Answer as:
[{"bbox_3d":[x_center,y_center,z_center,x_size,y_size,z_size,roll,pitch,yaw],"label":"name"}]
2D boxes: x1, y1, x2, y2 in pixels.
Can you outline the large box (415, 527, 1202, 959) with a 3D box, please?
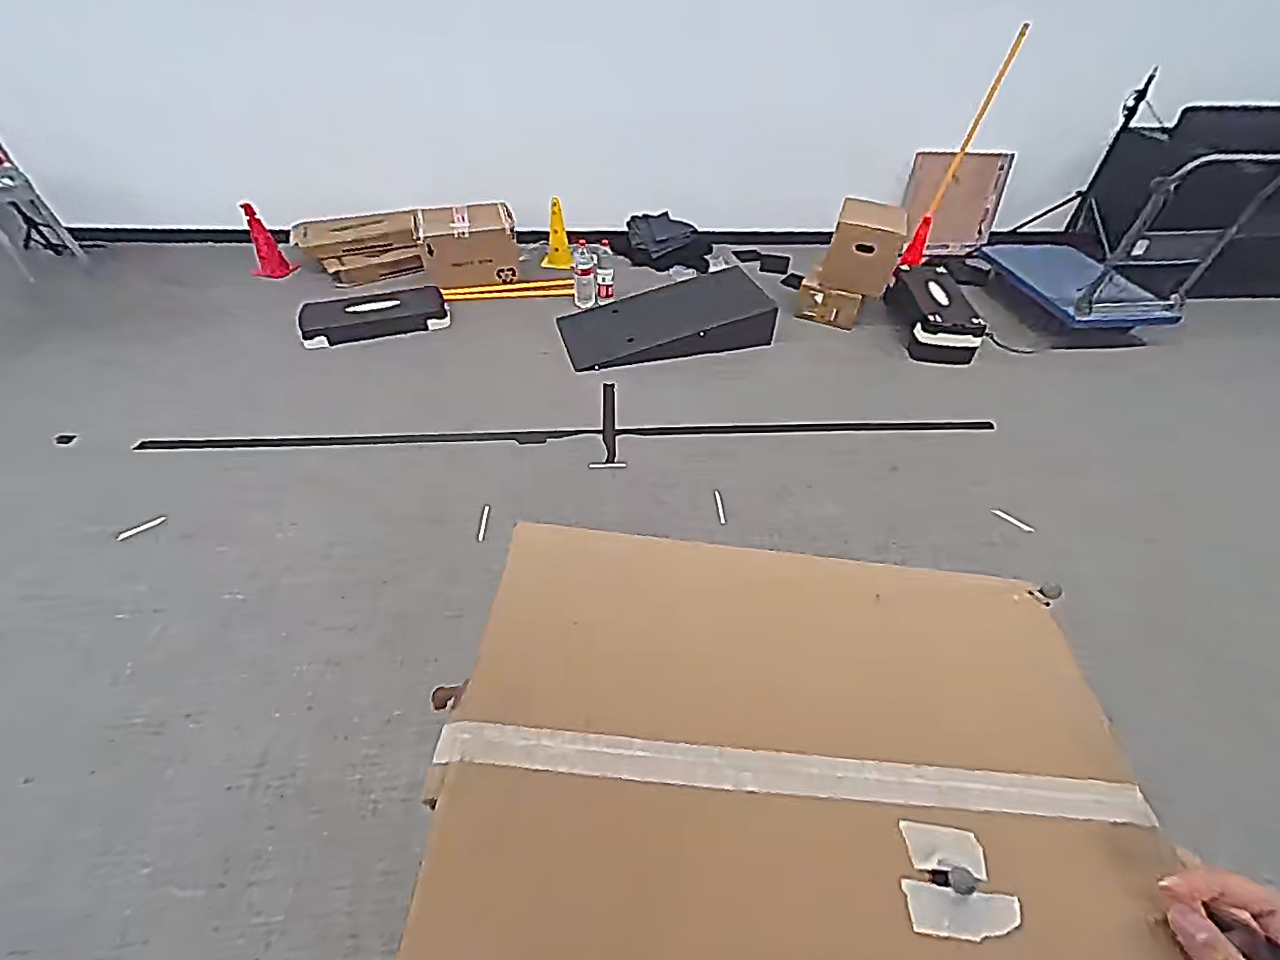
[{"bbox_3d":[0.078,0.268,0.431,0.408,0.320,0.320,7,48,-3],"label":"large box"}]
